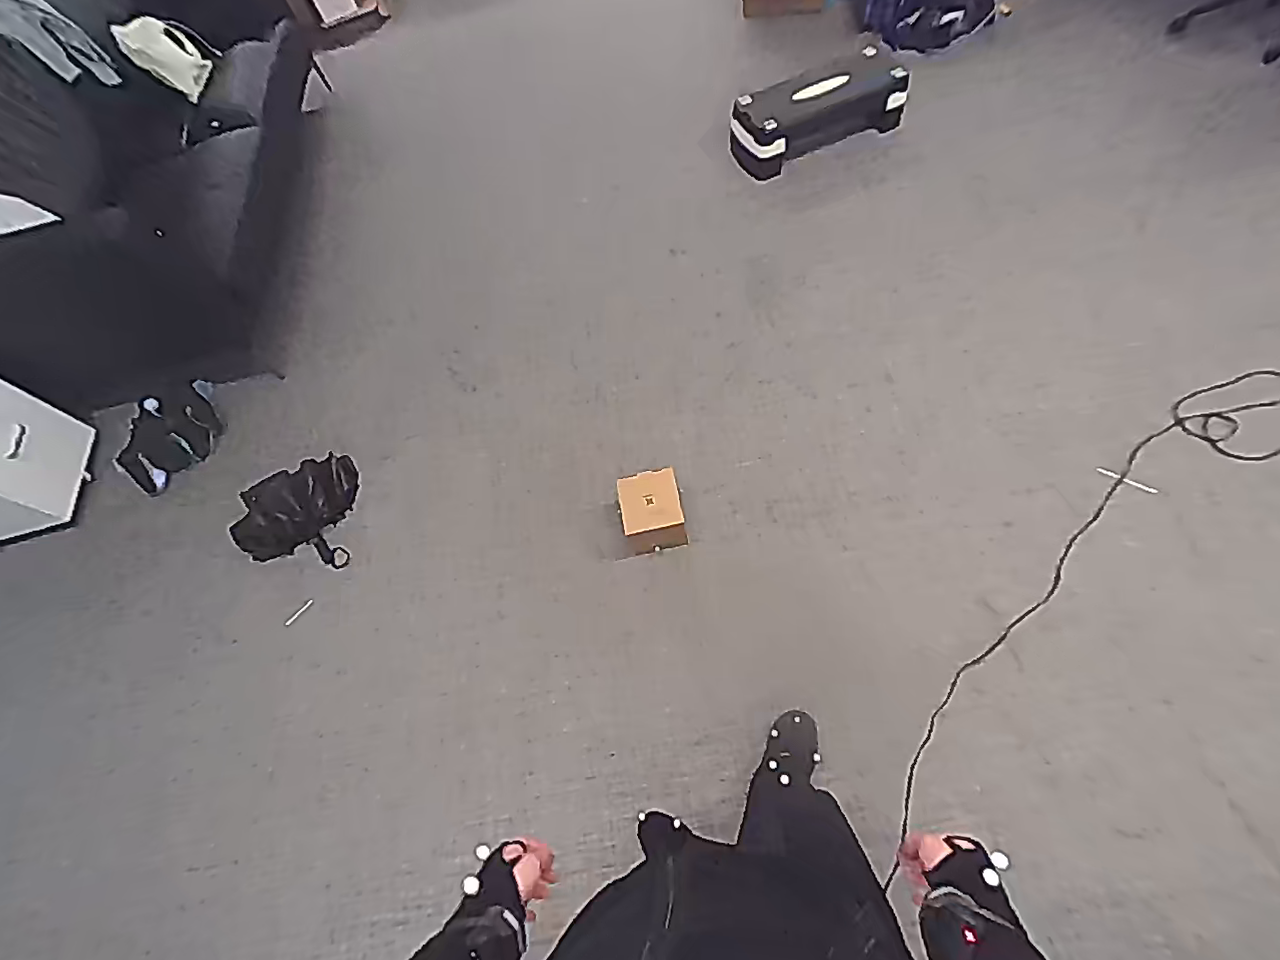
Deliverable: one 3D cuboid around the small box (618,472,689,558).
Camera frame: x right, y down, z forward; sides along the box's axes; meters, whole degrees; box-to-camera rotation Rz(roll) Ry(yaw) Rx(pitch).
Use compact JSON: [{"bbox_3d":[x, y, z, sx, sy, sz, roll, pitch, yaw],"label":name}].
[{"bbox_3d":[0.040,0.104,1.555,0.168,0.176,0.179,-13,63,4],"label":"small box"}]
